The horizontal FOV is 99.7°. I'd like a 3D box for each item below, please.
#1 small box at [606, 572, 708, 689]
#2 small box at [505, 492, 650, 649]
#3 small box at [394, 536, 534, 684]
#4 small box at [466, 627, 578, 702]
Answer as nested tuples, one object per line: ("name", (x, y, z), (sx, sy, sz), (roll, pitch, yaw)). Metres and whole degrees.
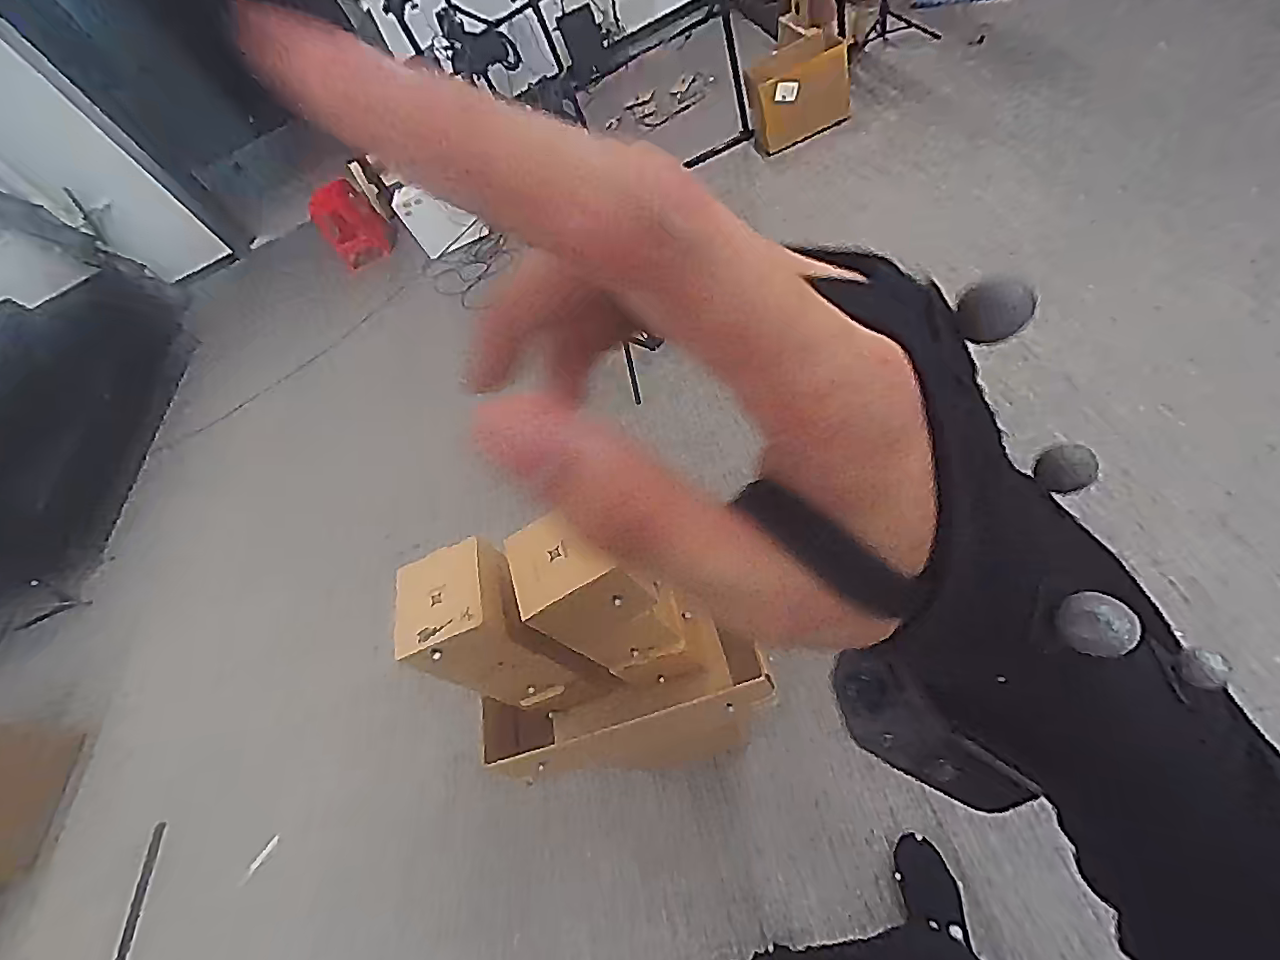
("small box", (0.033, 0.329, 1.168), (0.168, 0.176, 0.179), (-22, 52, 13))
("small box", (-0.099, 0.158, 0.920), (0.179, 0.176, 0.168), (-31, 49, 5))
("small box", (-0.305, 0.234, 0.958), (0.168, 0.176, 0.179), (-25, 50, 9))
("small box", (-0.241, 0.320, 1.085), (0.168, 0.176, 0.179), (-24, 52, 8))
